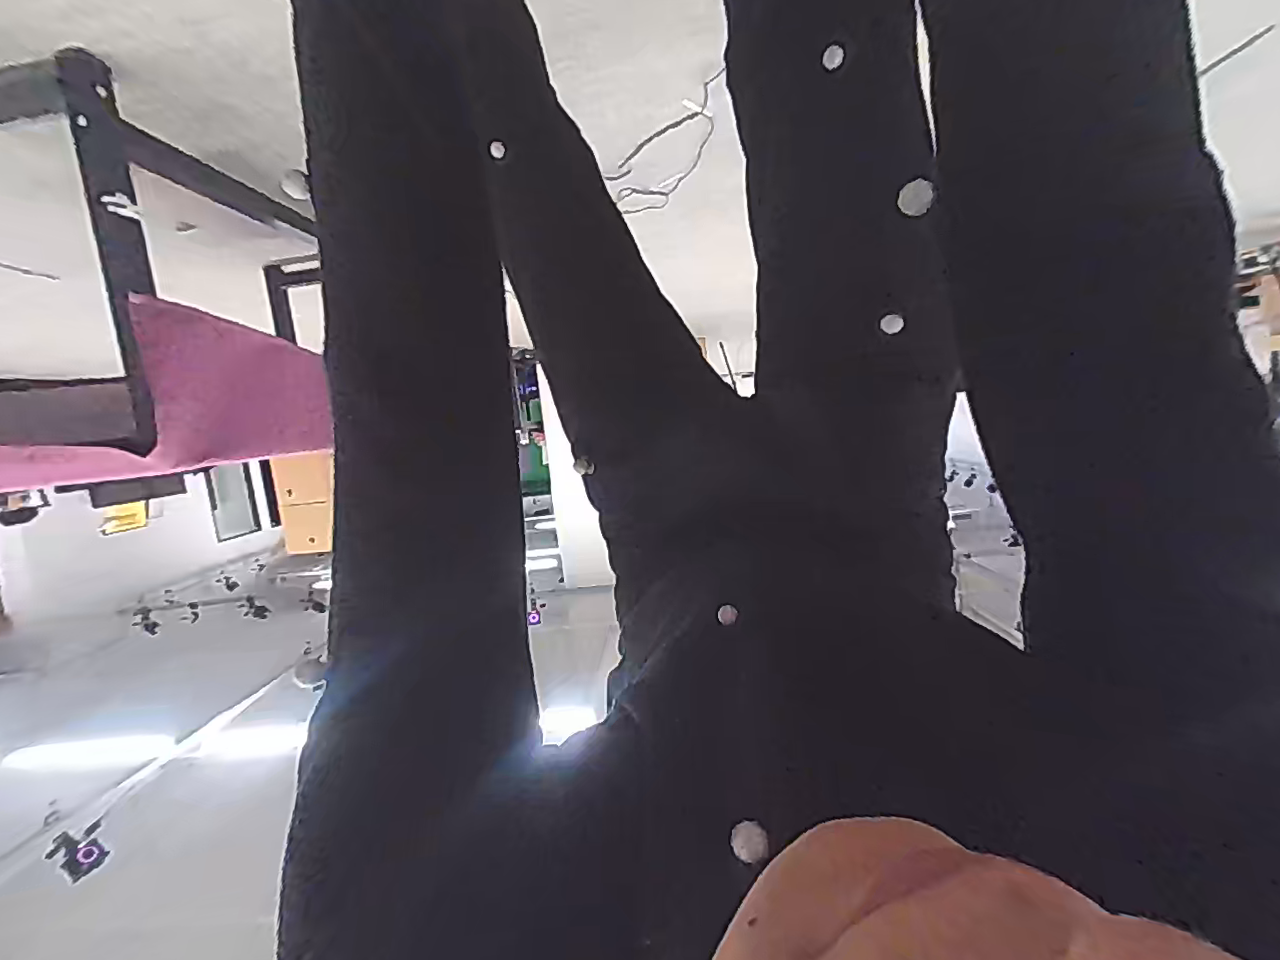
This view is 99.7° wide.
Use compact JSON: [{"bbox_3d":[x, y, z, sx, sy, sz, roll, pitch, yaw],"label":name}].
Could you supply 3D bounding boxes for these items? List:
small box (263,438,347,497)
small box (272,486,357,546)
[{"bbox_3d":[-1.117,-0.046,1.802,0.179,0.176,0.168,-7,-172,4],"label":"small box"},{"bbox_3d":[-1.099,0.115,1.826,0.179,0.176,0.168,-5,-172,8],"label":"small box"}]
